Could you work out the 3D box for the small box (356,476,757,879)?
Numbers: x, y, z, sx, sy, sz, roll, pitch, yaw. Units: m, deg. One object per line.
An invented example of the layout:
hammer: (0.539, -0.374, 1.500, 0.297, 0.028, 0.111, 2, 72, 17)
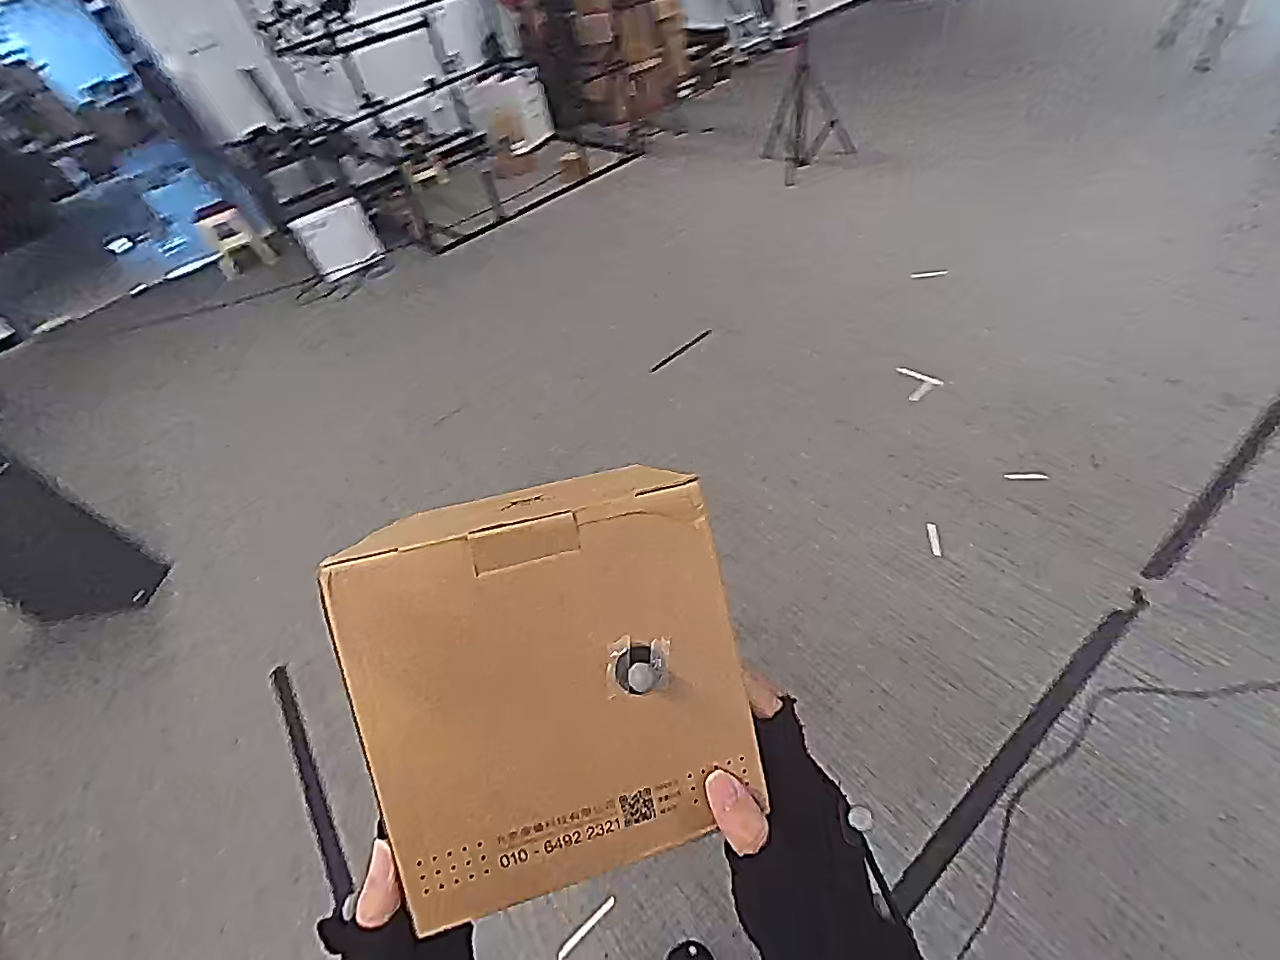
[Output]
small box: (-0.042, 0.101, 0.335, 0.168, 0.176, 0.179, -12, 5, -8)
